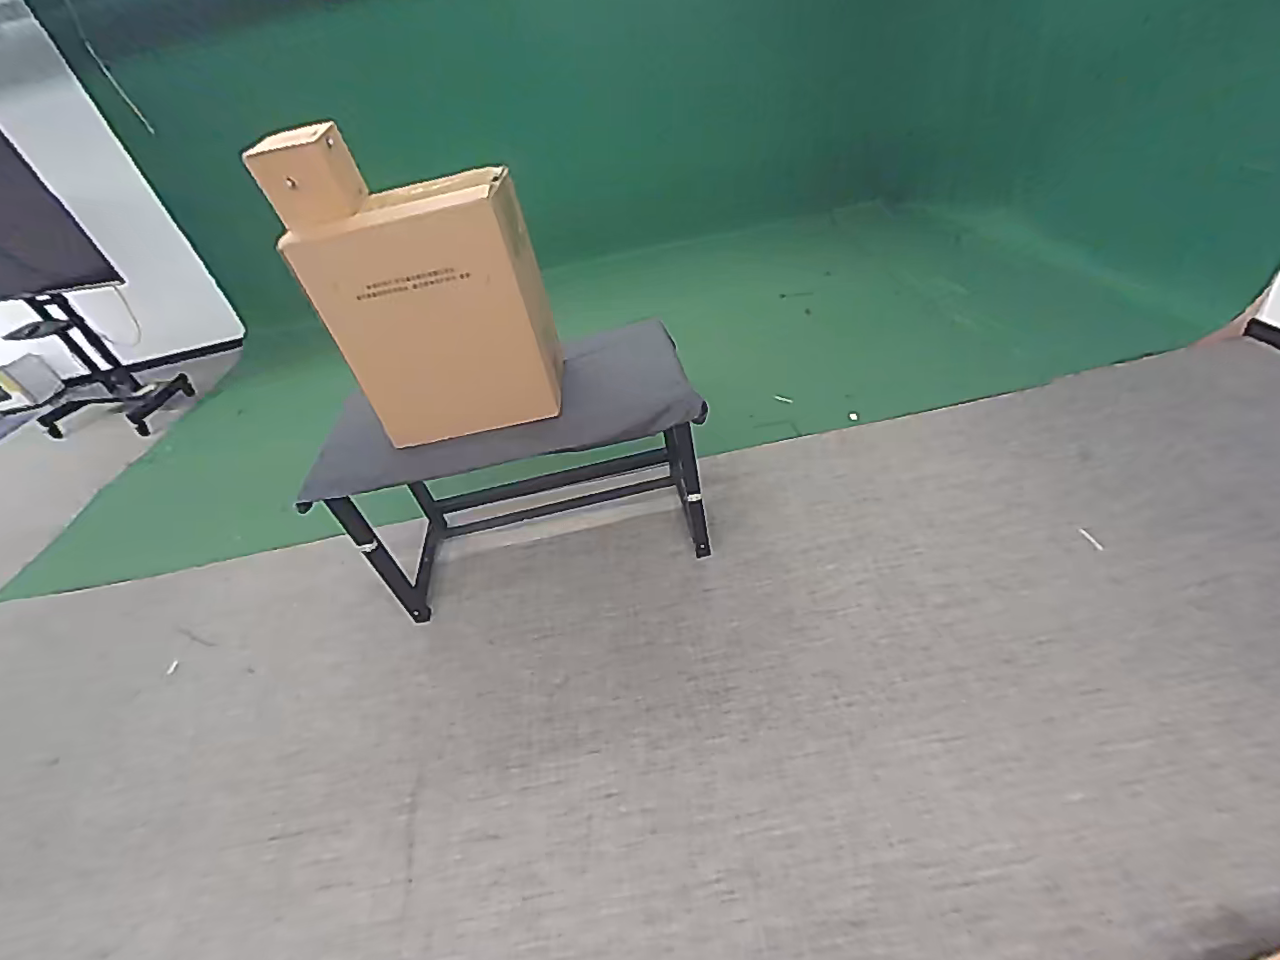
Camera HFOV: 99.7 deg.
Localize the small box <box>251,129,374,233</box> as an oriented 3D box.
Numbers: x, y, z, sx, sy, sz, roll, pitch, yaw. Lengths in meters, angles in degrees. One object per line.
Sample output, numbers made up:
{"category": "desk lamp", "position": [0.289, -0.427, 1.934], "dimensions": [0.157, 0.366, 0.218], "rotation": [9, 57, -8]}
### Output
{"category": "small box", "position": [-0.803, -0.739, 1.346], "dimensions": [0.179, 0.176, 0.168], "rotation": [-11, 47, 4]}
